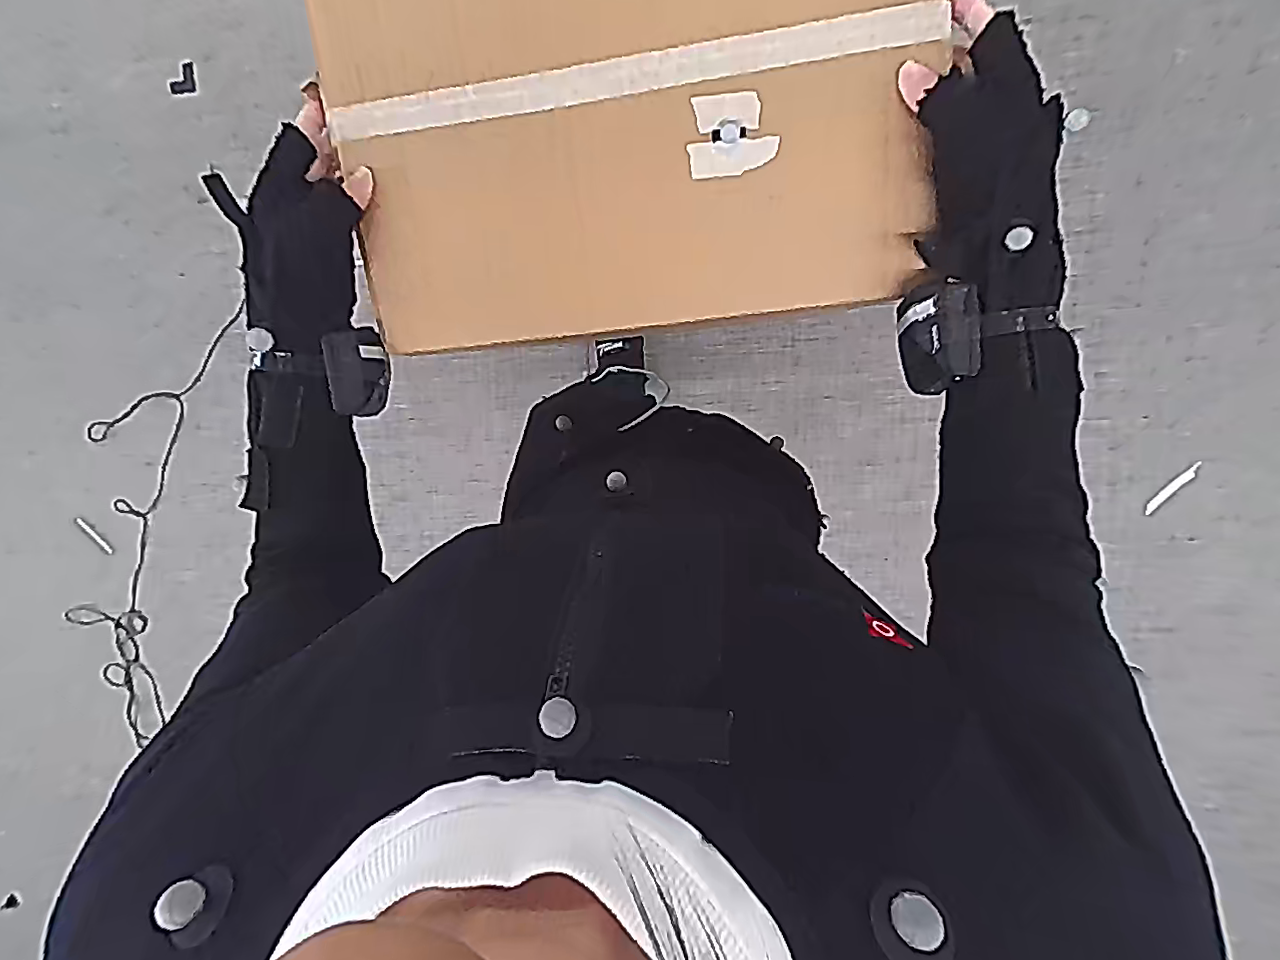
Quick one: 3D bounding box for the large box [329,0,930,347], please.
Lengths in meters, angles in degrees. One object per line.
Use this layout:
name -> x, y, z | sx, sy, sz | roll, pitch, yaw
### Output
large box -> 0.002, -0.307, 0.512 | 0.408, 0.320, 0.320 | -5, 104, 6
